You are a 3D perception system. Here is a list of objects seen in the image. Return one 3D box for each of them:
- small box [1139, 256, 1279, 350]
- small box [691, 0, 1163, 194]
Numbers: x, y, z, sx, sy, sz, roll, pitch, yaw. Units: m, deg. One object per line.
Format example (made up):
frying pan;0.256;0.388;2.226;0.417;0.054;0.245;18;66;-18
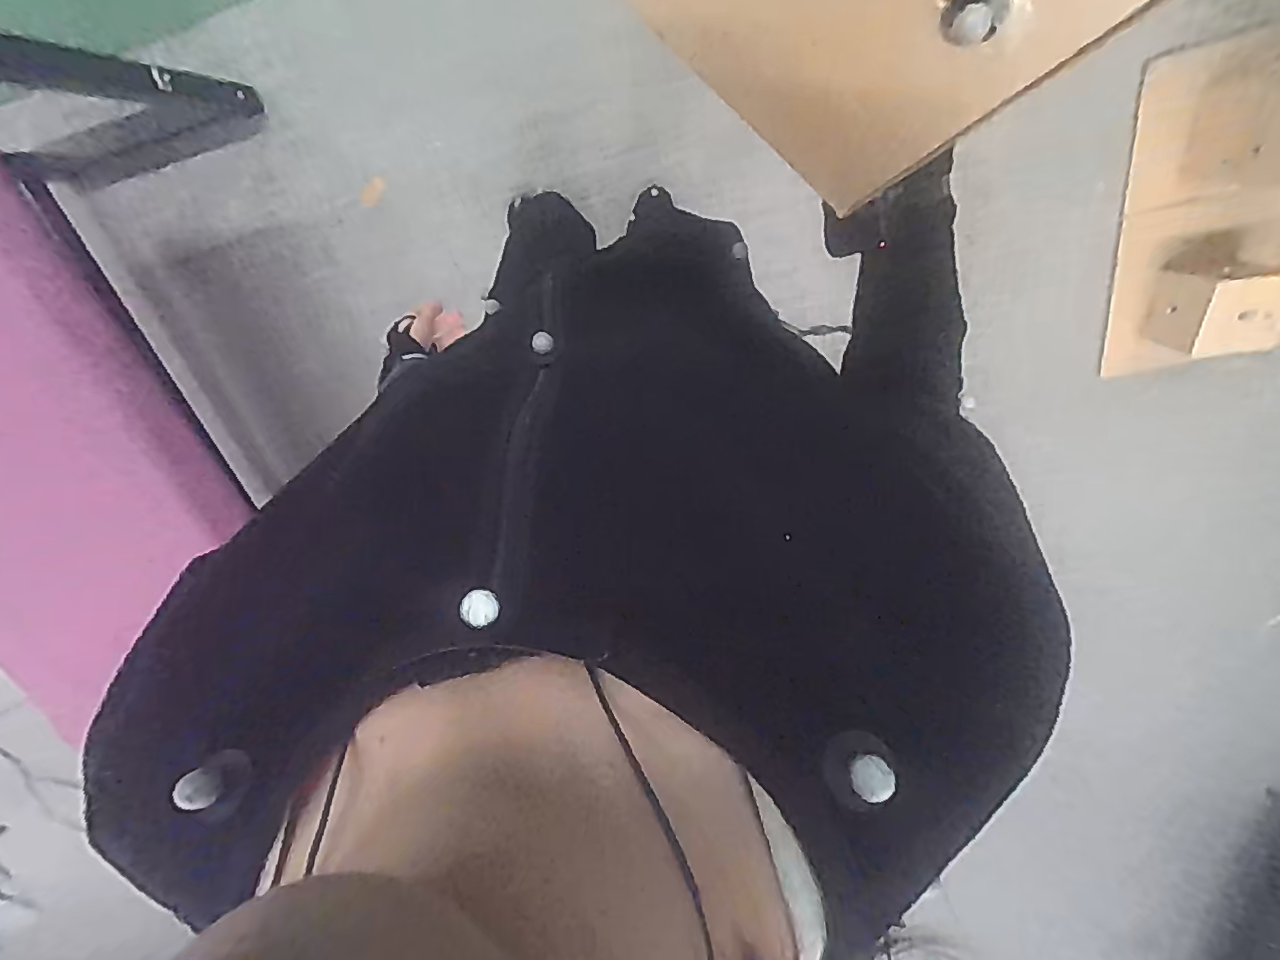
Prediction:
small box;1.314;-0.409;1.238;0.179;0.176;0.168;-6;120;5
small box;0.117;-0.264;0.200;0.176;0.168;0.179;30;159;-24
